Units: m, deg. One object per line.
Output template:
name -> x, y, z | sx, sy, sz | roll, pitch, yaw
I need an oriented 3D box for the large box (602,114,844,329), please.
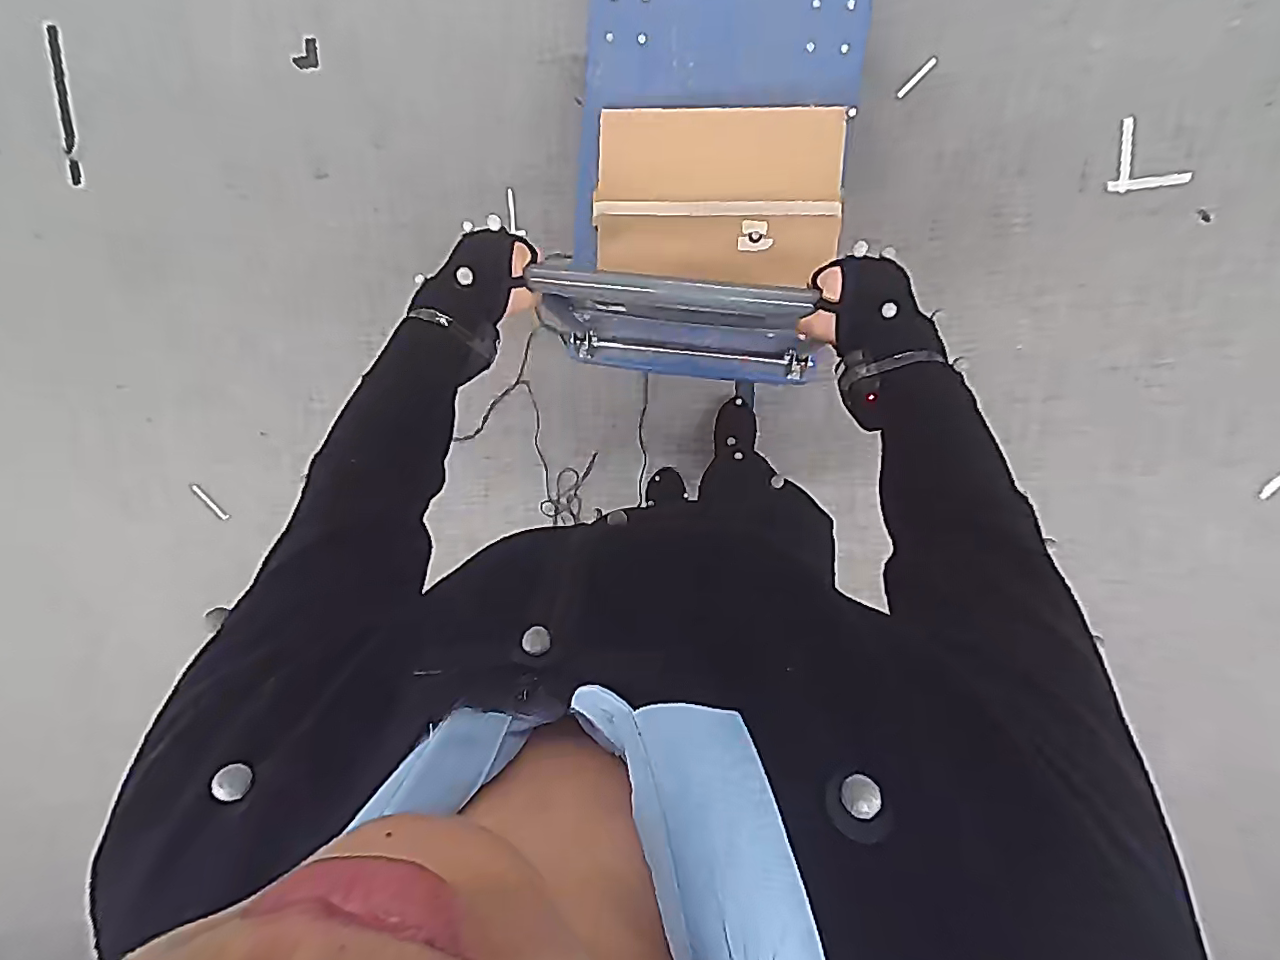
large box -> 0.143, -0.475, 1.066 | 0.408, 0.320, 0.320 | 3, 100, 4
